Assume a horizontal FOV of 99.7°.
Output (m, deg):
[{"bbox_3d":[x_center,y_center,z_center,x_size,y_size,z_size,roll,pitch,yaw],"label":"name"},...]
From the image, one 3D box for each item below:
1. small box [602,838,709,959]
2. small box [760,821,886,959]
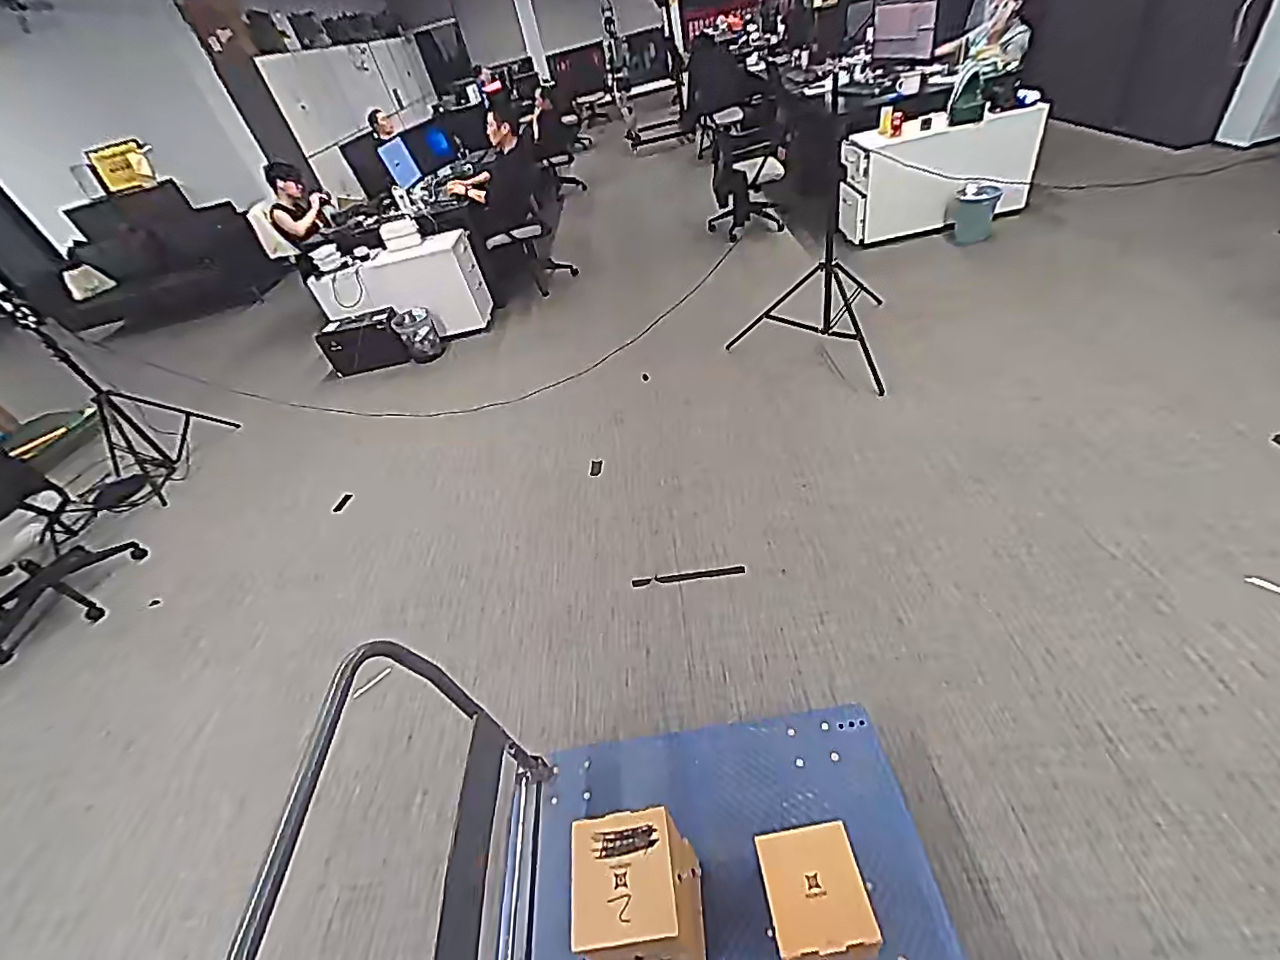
[{"bbox_3d":[0.032,0.802,1.014,0.168,0.176,0.179,-10,41,8],"label":"small box"},{"bbox_3d":[0.321,0.755,0.980,0.168,0.176,0.179,-13,41,3],"label":"small box"}]
